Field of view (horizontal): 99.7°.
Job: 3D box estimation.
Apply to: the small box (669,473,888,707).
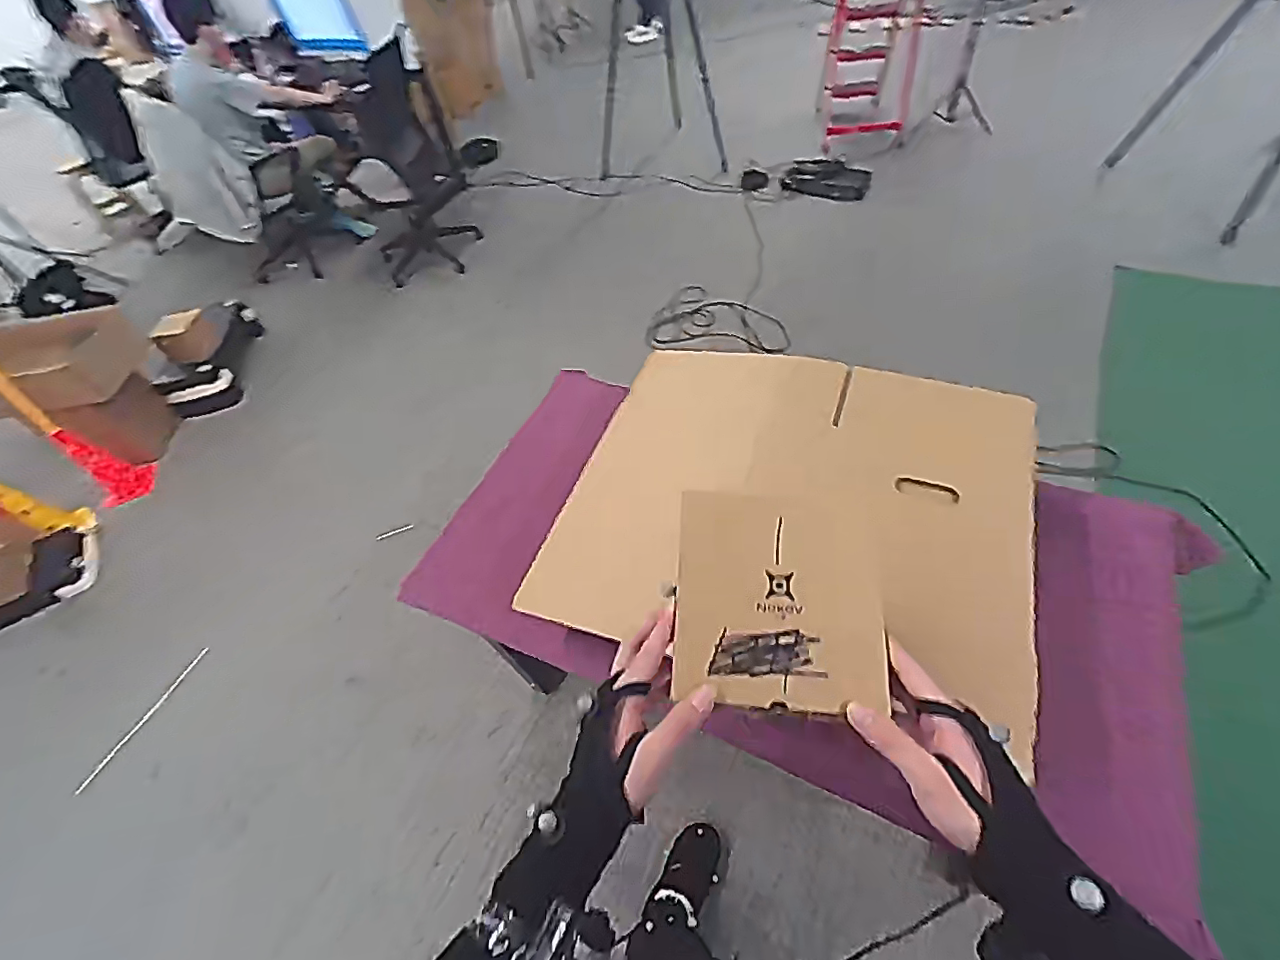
[{"bbox_3d":[0.118,0.106,0.509,0.168,0.176,0.179,3,71,6],"label":"small box"}]
